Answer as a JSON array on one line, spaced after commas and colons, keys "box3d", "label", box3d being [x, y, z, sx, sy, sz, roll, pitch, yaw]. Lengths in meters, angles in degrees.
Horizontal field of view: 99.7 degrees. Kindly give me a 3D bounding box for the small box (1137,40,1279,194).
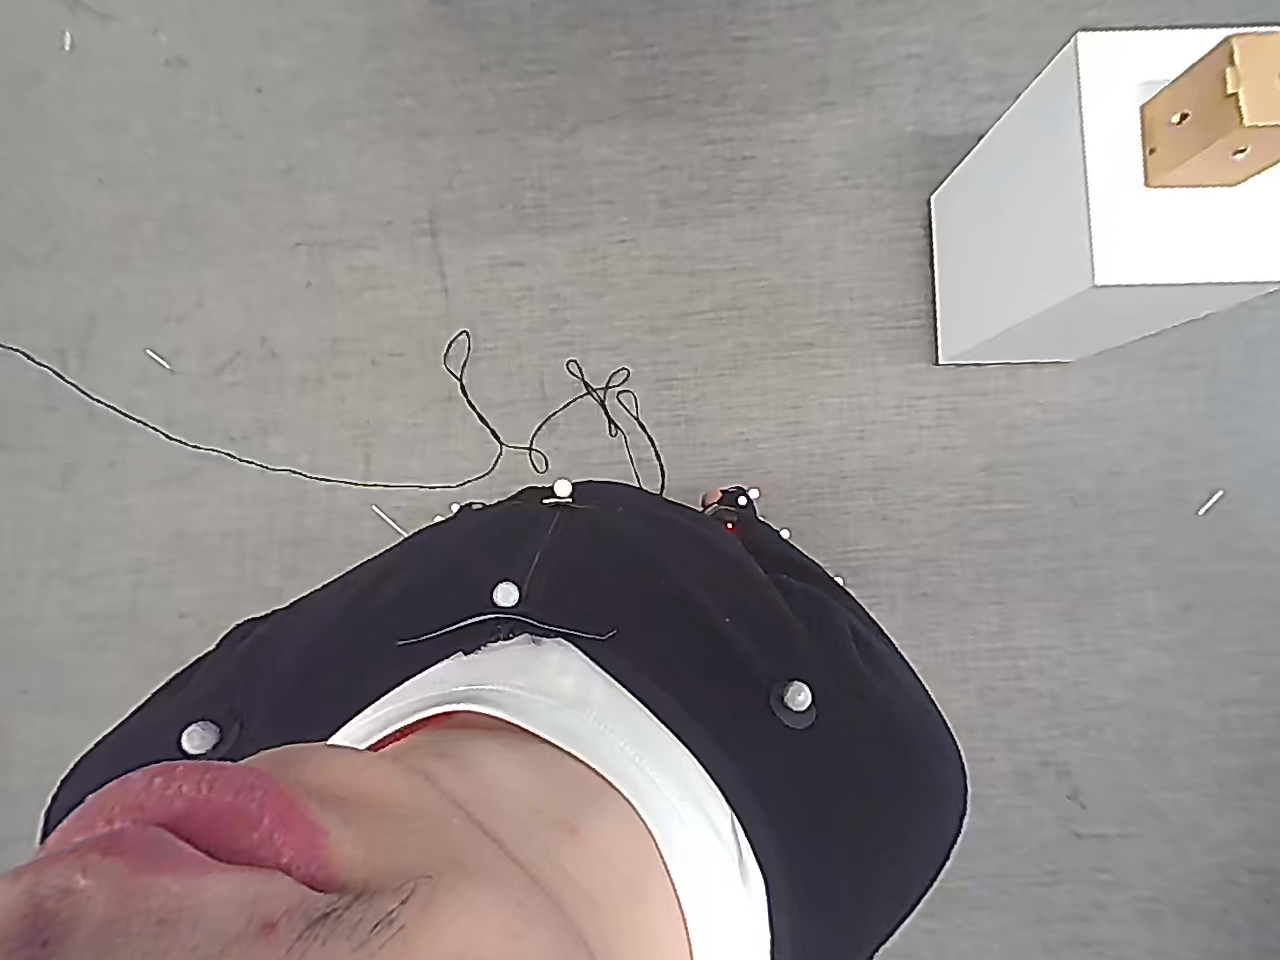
[{"box3d": [1.044, -0.637, 0.967, 0.179, 0.176, 0.168, -3, 86, 0], "label": "small box"}]
